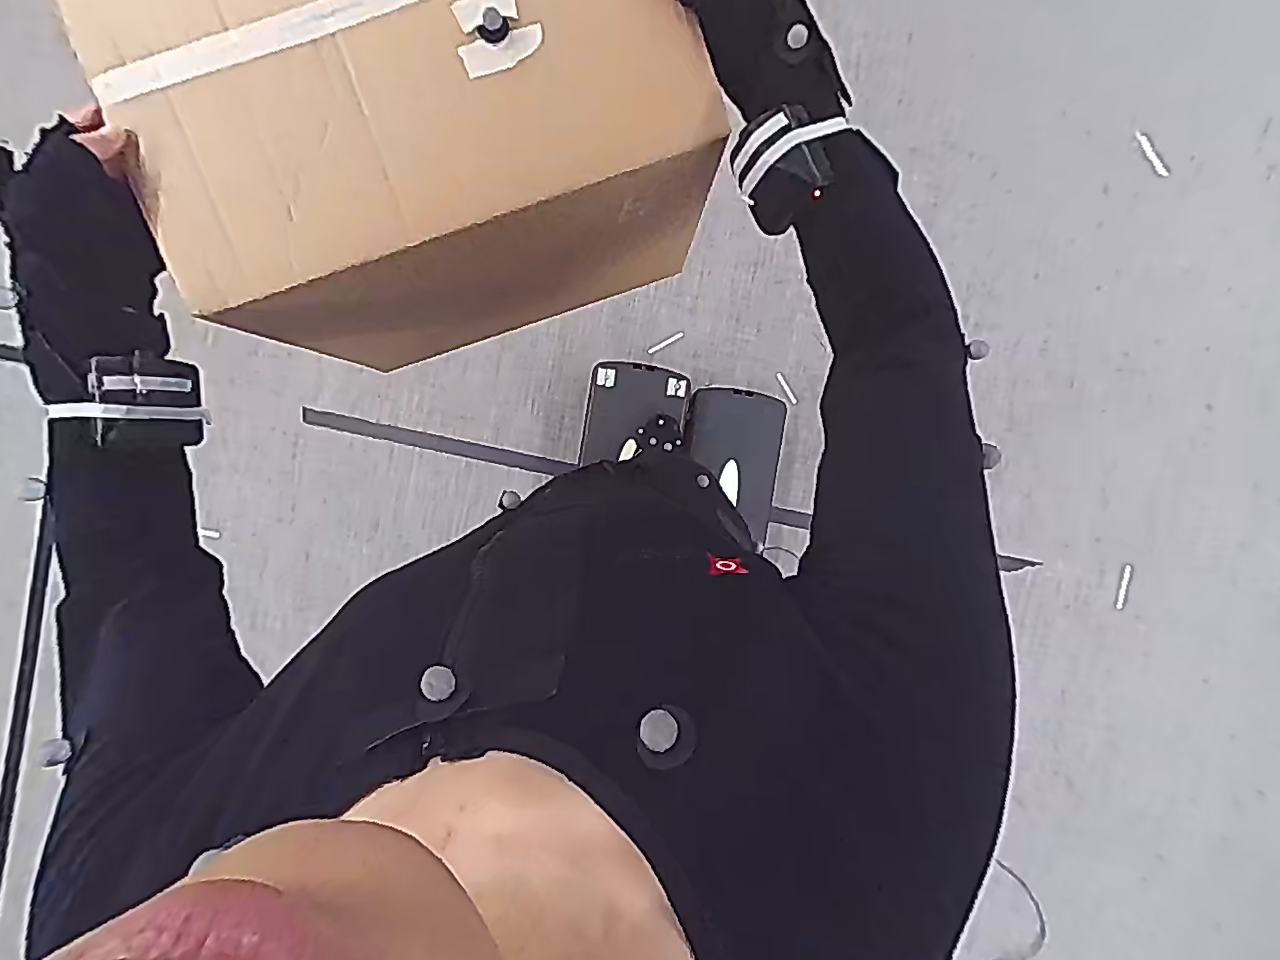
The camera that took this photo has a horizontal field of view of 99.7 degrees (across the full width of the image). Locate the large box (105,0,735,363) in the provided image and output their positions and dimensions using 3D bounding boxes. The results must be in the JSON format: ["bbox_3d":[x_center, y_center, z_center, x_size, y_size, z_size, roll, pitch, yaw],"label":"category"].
[{"bbox_3d":[-0.171,-0.345,0.532,0.408,0.320,0.320,-19,95,-1],"label":"large box"}]
